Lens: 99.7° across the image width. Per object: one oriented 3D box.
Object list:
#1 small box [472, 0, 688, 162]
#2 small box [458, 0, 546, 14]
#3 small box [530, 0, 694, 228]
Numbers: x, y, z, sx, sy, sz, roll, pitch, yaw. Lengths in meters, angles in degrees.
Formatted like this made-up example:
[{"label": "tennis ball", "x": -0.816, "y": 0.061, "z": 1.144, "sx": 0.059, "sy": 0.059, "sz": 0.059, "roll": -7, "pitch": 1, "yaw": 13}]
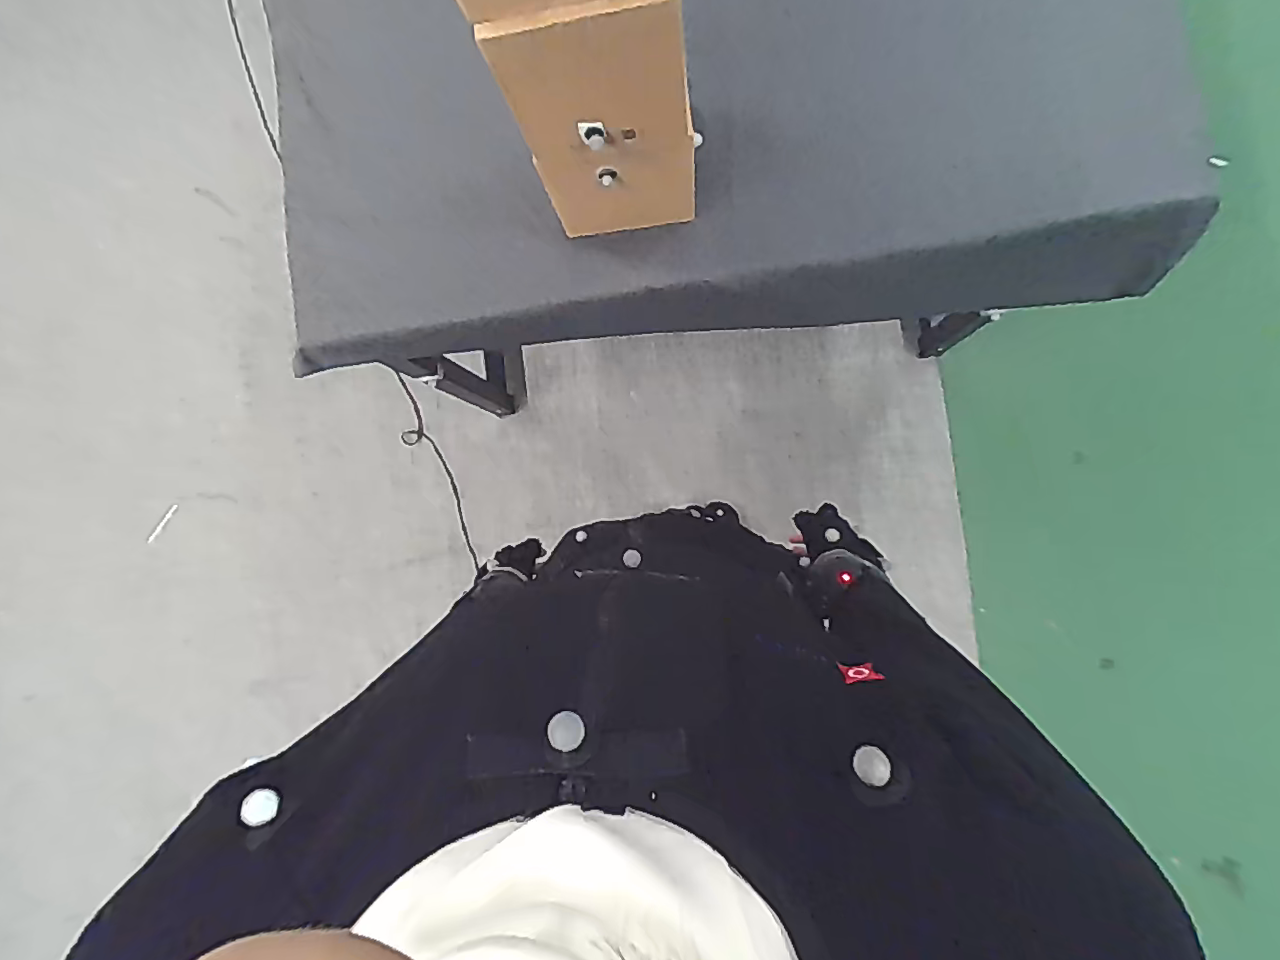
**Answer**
[{"label": "small box", "x": -0.047, "y": -0.439, "z": 0.501, "sx": 0.168, "sy": 0.176, "sz": 0.179, "roll": -6, "pitch": 87, "yaw": 8}, {"label": "small box", "x": -0.070, "y": -0.452, "z": 0.339, "sx": 0.179, "sy": 0.176, "sz": 0.168, "roll": -5, "pitch": 86, "yaw": 8}, {"label": "small box", "x": -0.028, "y": -0.432, "z": 0.661, "sx": 0.179, "sy": 0.176, "sz": 0.168, "roll": -4, "pitch": 87, "yaw": 6}]
